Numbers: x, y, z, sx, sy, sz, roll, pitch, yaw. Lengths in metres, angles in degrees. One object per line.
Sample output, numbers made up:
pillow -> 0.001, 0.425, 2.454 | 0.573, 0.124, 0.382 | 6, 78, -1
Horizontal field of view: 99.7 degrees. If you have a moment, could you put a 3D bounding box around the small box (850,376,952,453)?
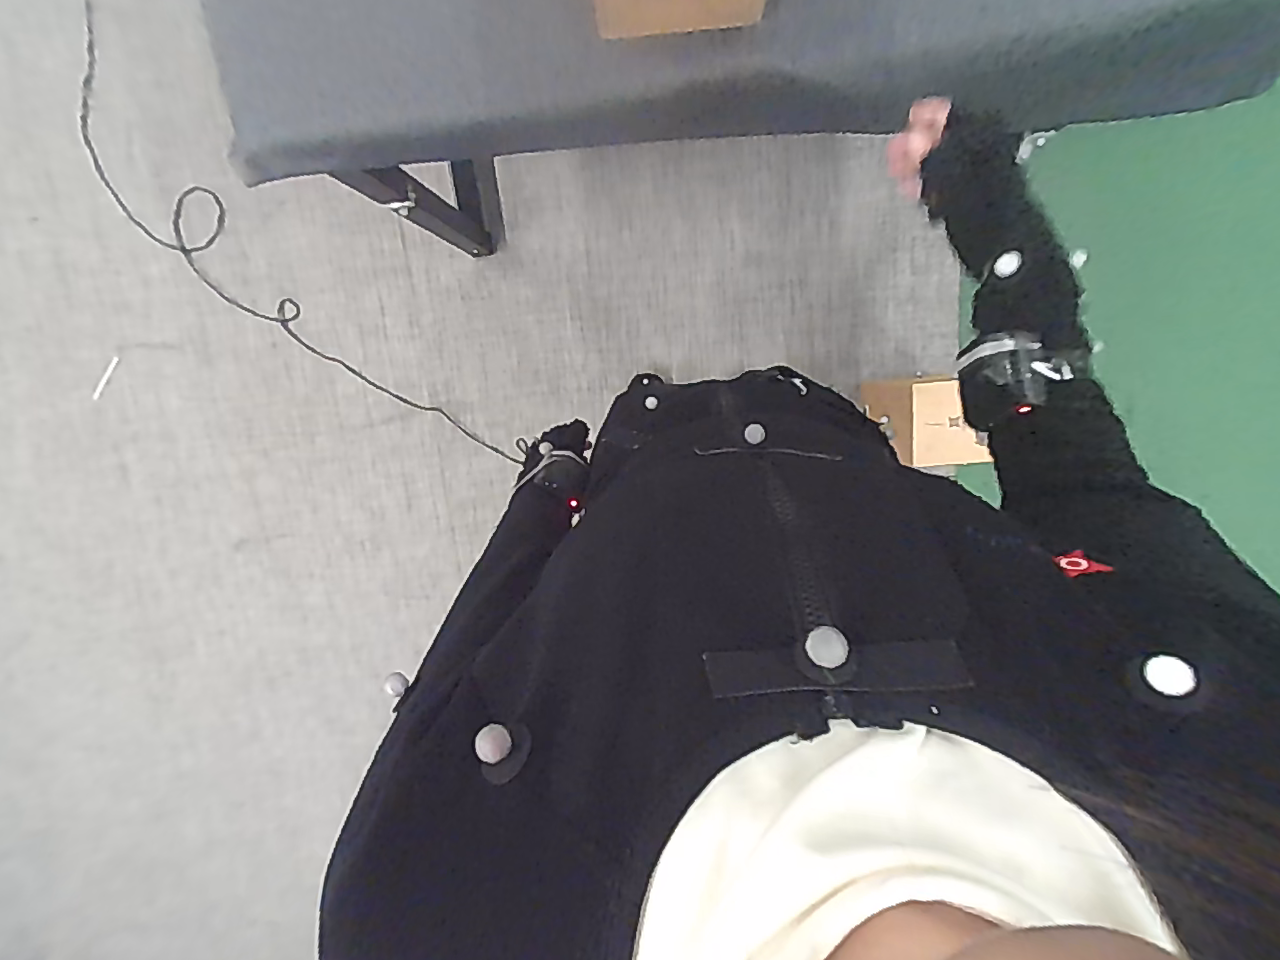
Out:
small box -> 0.621, -0.161, 1.298 | 0.179, 0.176, 0.168 | -5, 100, 5

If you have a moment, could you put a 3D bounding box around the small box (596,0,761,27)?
small box -> 0.035, -0.558, 0.495 | 0.179, 0.176, 0.168 | -2, 101, 3

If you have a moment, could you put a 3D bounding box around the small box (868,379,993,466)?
small box -> 0.602, -0.126, 1.138 | 0.179, 0.176, 0.168 | -3, 100, 4
